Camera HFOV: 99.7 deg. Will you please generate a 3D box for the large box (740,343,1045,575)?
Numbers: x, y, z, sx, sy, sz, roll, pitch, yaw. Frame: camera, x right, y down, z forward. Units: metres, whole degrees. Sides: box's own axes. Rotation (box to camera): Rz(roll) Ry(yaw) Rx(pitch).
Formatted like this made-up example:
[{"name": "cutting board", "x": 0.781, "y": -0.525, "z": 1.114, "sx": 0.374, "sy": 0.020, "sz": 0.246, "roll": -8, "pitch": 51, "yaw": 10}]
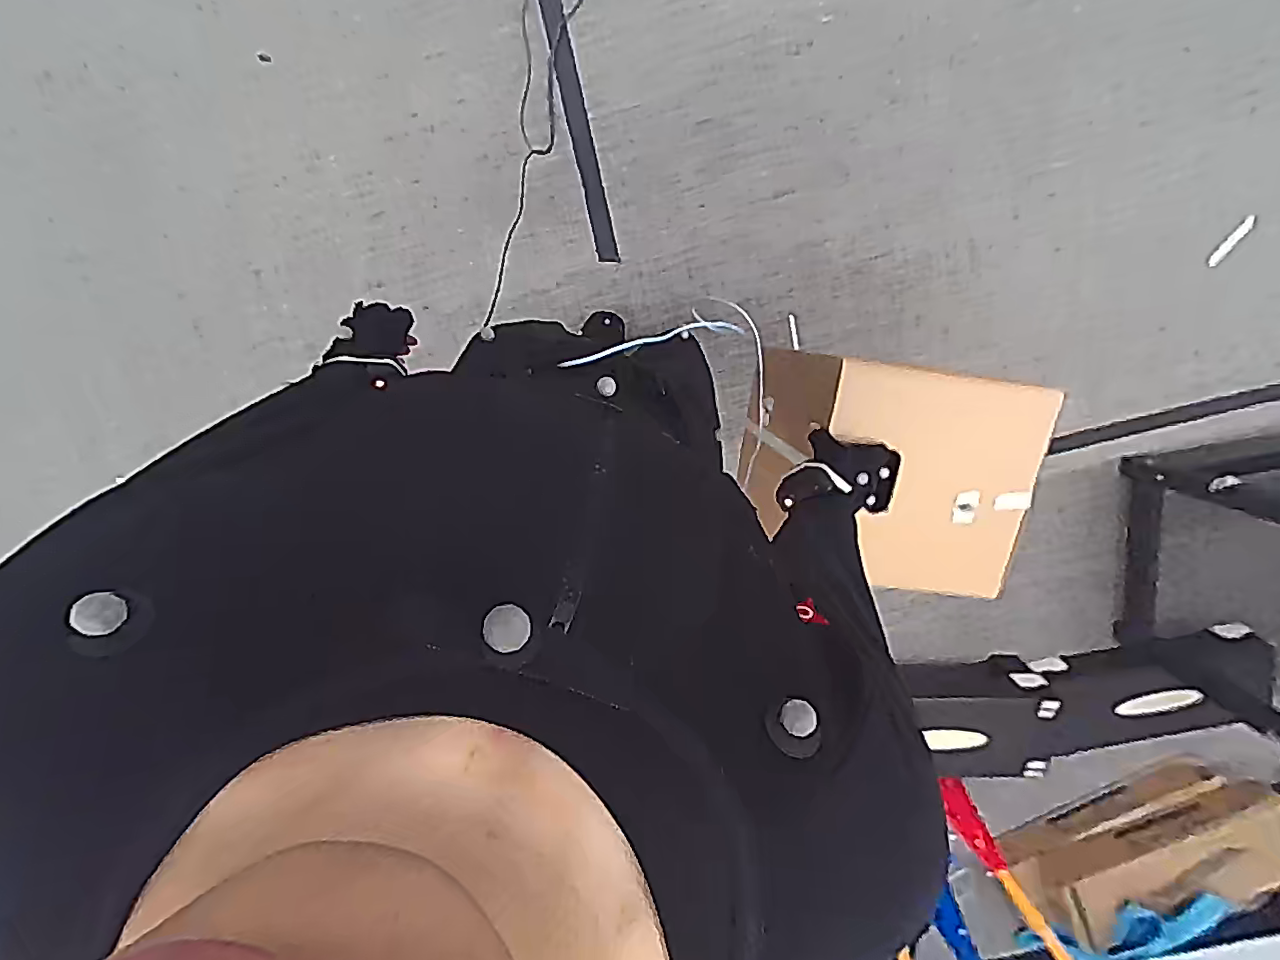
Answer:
[{"name": "large box", "x": 0.385, "y": -0.063, "z": 0.945, "sx": 0.320, "sy": 0.408, "sz": 0.320, "roll": 6, "pitch": 106, "yaw": -3}]
